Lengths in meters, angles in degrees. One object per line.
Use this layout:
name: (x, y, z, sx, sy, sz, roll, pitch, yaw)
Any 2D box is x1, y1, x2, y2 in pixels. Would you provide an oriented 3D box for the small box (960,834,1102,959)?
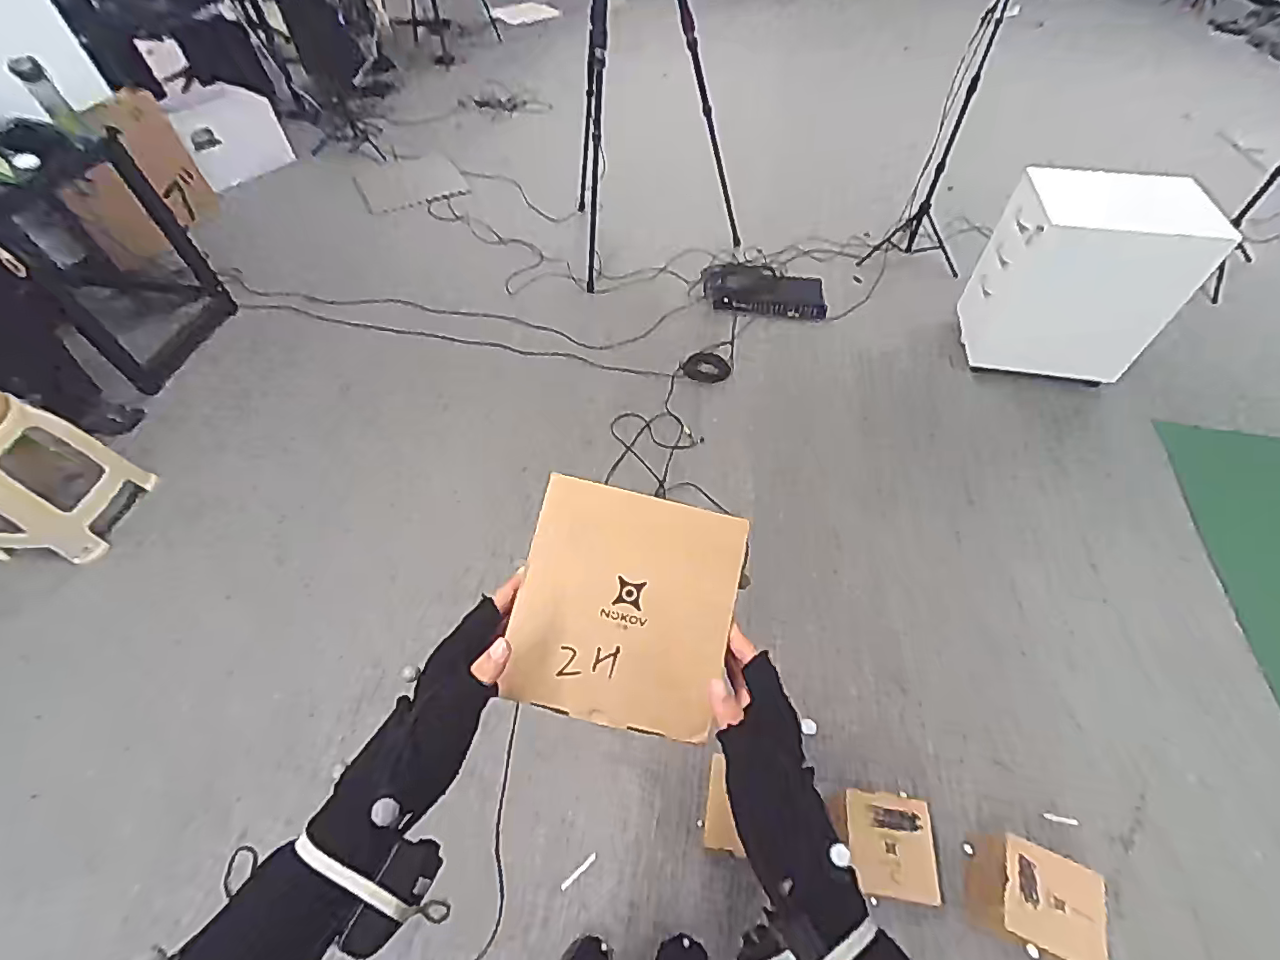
small box: (0.766, 0.842, 1.076, 0.179, 0.176, 0.168, 20, 56, 14)

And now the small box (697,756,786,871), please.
small box: (0.217, 0.728, 1.178, 0.168, 0.176, 0.179, 8, 53, 7)
